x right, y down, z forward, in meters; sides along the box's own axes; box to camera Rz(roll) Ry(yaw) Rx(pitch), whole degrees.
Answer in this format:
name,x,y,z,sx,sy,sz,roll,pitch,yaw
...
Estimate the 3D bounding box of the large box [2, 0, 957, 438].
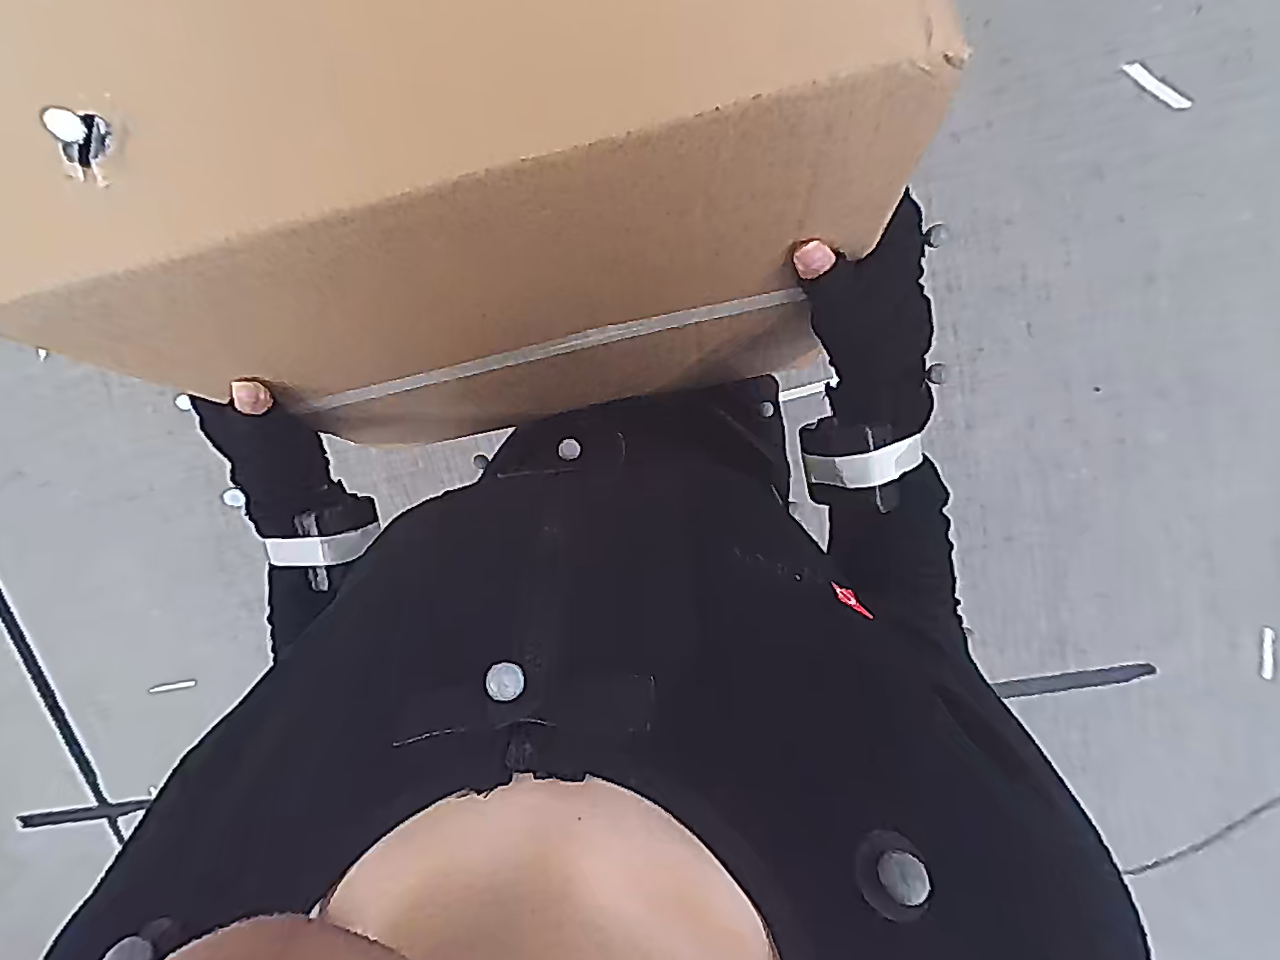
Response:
name,x,y,z,sx,sy,sz,roll,pitch,yaw
large box,-0.089,-0.246,0.378,0.408,0.320,0.320,-11,82,6
